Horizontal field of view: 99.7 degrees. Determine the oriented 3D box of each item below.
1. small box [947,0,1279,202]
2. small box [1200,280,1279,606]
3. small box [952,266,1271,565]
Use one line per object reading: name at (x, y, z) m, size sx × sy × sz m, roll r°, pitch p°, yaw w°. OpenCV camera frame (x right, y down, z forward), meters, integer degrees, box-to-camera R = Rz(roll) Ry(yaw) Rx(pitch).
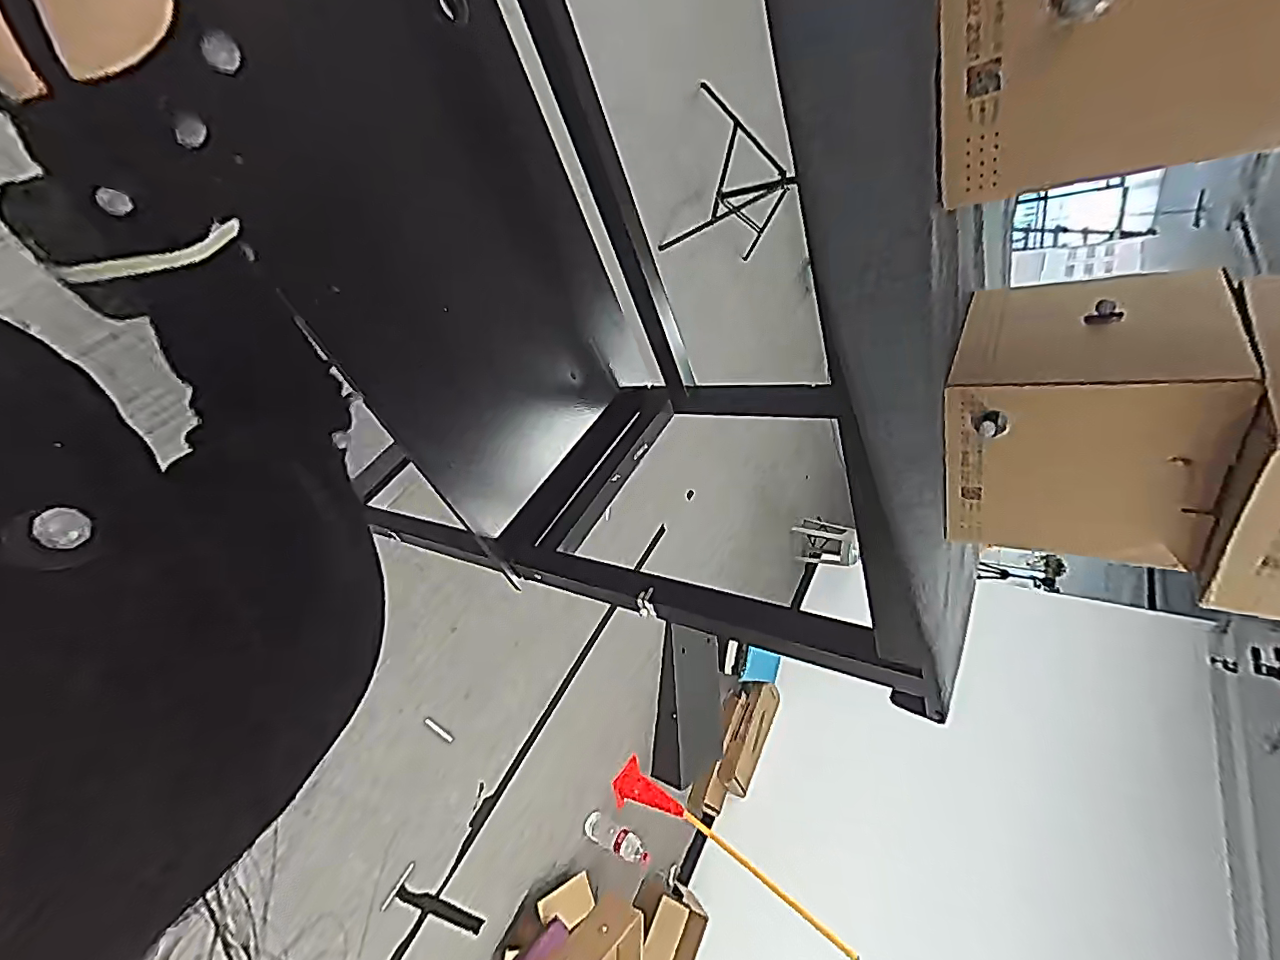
small box at (0.263, -0.269, 0.274) m, size 0.179 × 0.176 × 0.168 m, roll -56°, pitch 136°, yaw -35°
small box at (0.485, -0.020, 0.344) m, size 0.179 × 0.176 × 0.168 m, roll -58°, pitch 138°, yaw -32°
small box at (0.369, -0.056, 0.456) m, size 0.179 × 0.176 × 0.168 m, roll -53°, pitch 134°, yaw -37°
